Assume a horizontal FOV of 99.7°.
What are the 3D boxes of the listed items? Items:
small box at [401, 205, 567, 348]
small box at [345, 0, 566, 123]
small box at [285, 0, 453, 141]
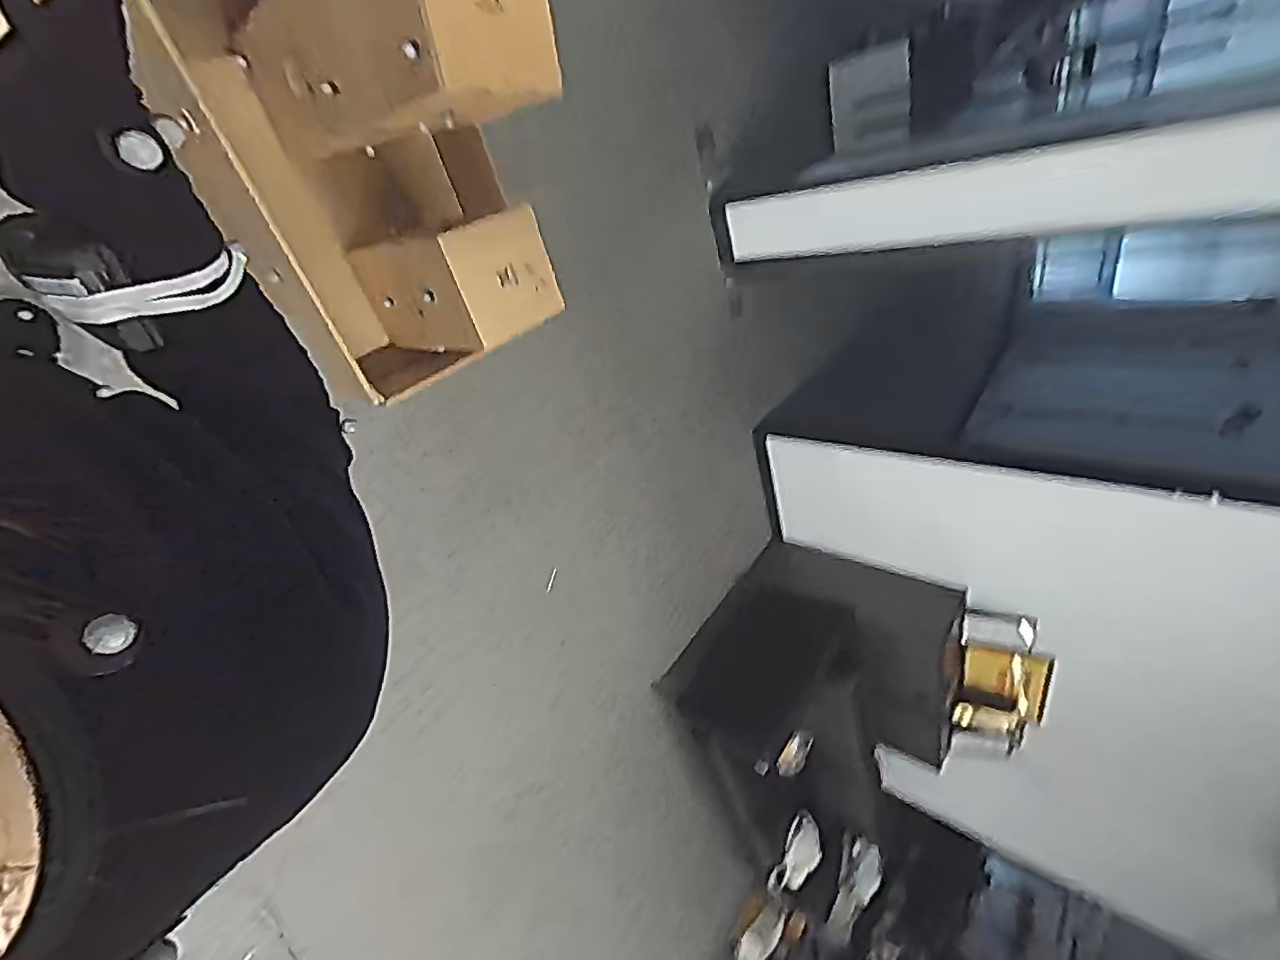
[{"bbox_3d":[-0.254,-0.322,0.867,0.179,0.176,0.168,-41,129,-34],"label":"small box"},{"bbox_3d":[-0.213,-0.522,0.608,0.168,0.176,0.179,-33,127,-39],"label":"small box"},{"bbox_3d":[-0.331,-0.561,0.712,0.179,0.176,0.168,-37,128,-37],"label":"small box"}]
